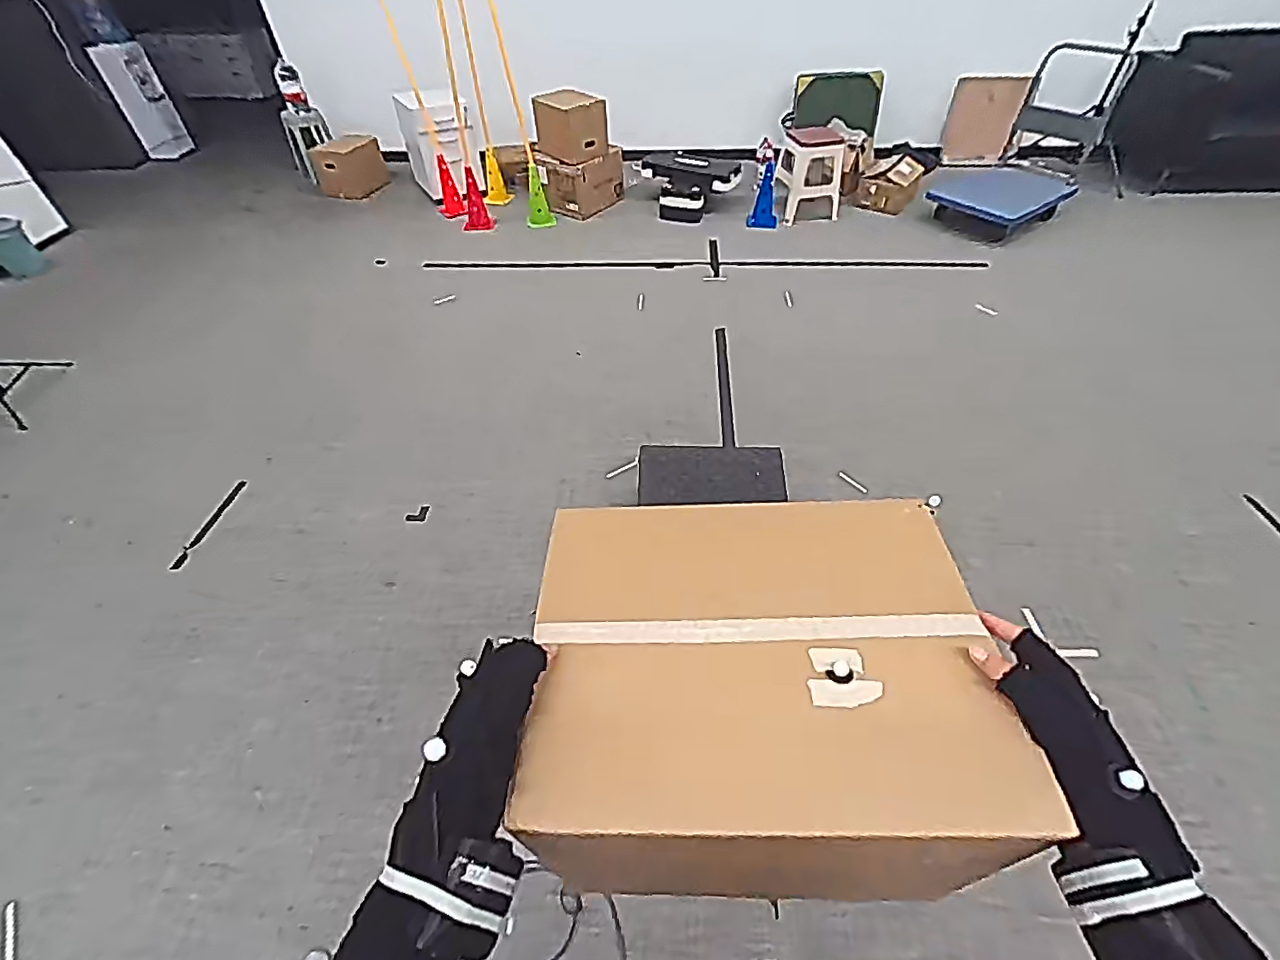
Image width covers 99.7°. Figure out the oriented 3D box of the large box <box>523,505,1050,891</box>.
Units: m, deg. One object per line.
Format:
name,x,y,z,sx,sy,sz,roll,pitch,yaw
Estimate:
large box,0.115,0.249,0.613,0.408,0.320,0.320,-2,46,3
